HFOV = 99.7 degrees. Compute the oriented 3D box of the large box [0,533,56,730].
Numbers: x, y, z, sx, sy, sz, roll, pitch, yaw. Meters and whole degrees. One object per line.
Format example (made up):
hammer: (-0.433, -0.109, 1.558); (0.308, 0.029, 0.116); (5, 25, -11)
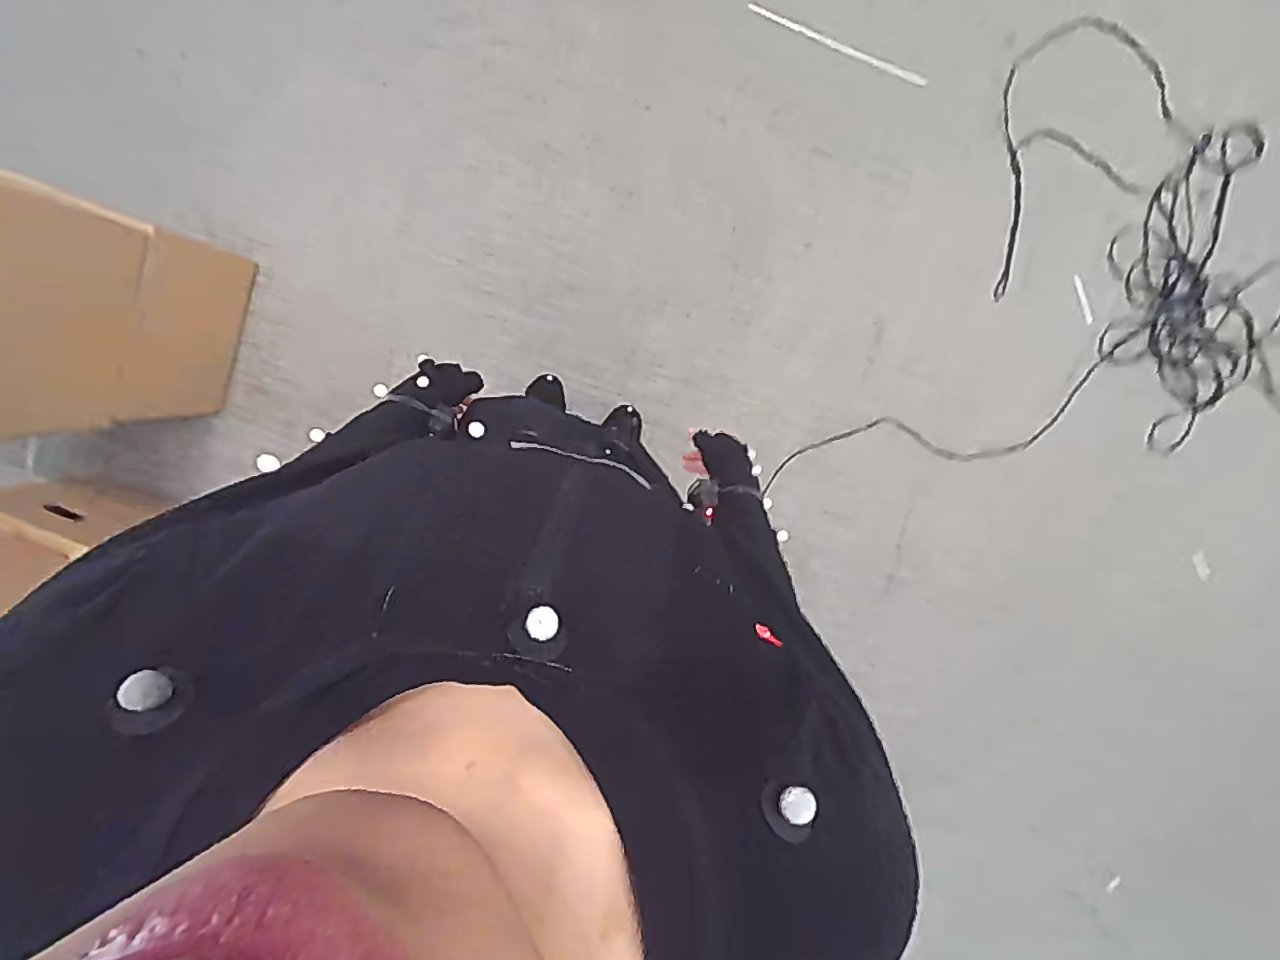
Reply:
large box: (-1.412, 0.305, 0.993); (0.320, 0.320, 0.408); (21, 97, -2)
